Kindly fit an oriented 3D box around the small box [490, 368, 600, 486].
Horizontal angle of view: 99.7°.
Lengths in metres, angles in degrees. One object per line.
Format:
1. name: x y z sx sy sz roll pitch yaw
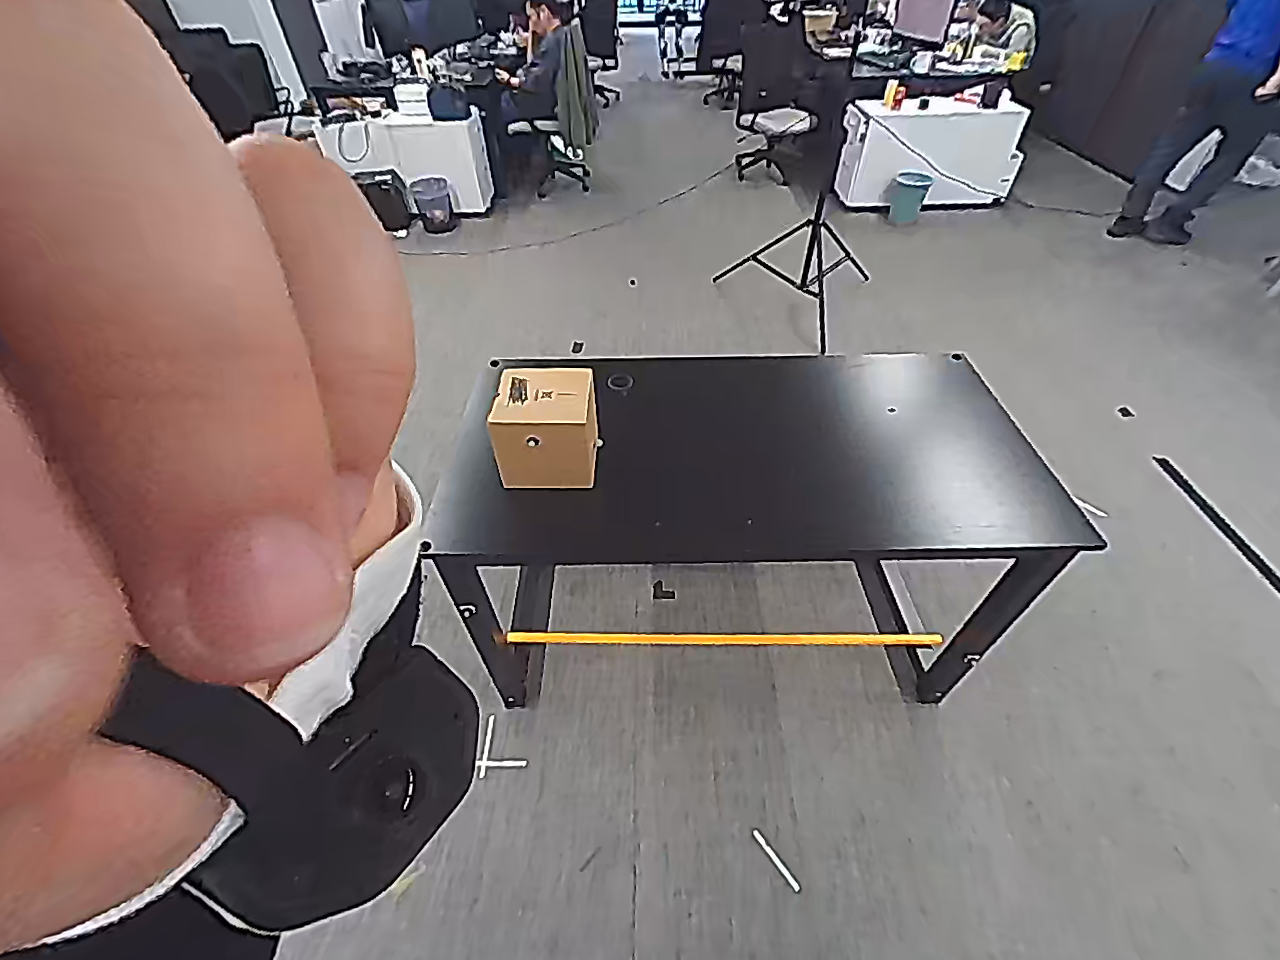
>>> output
1. small box: -0.174 -0.101 1.056 0.179 0.176 0.168 0 46 1
